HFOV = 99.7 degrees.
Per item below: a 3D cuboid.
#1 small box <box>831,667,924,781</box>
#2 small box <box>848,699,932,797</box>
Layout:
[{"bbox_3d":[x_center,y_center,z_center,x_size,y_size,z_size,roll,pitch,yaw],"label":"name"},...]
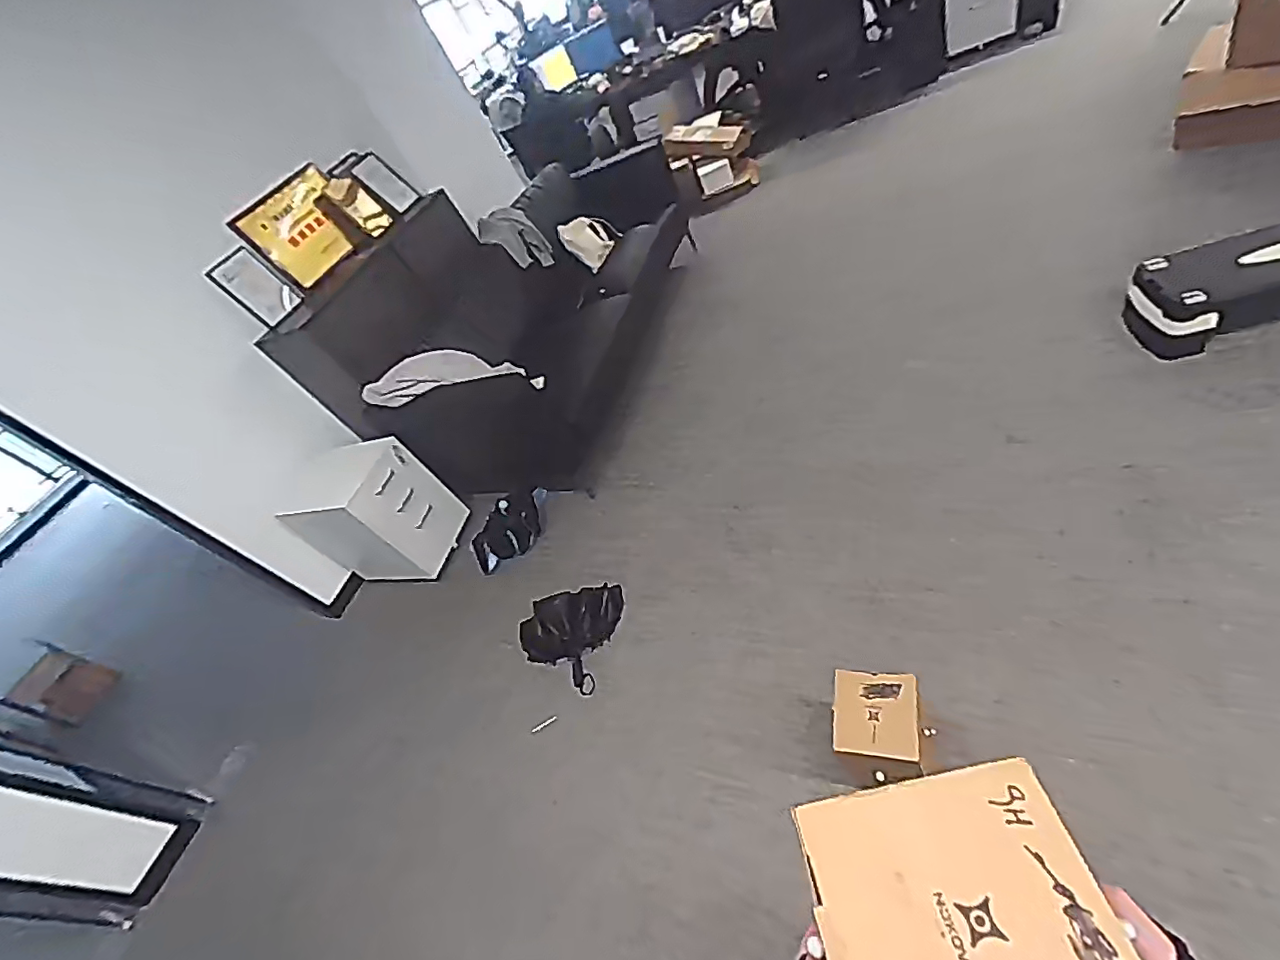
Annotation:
[{"bbox_3d":[0.528,0.538,1.197,0.168,0.176,0.179,-7,48,30],"label":"small box"},{"bbox_3d":[0.603,0.637,1.306,0.168,0.176,0.179,-7,49,30],"label":"small box"}]
